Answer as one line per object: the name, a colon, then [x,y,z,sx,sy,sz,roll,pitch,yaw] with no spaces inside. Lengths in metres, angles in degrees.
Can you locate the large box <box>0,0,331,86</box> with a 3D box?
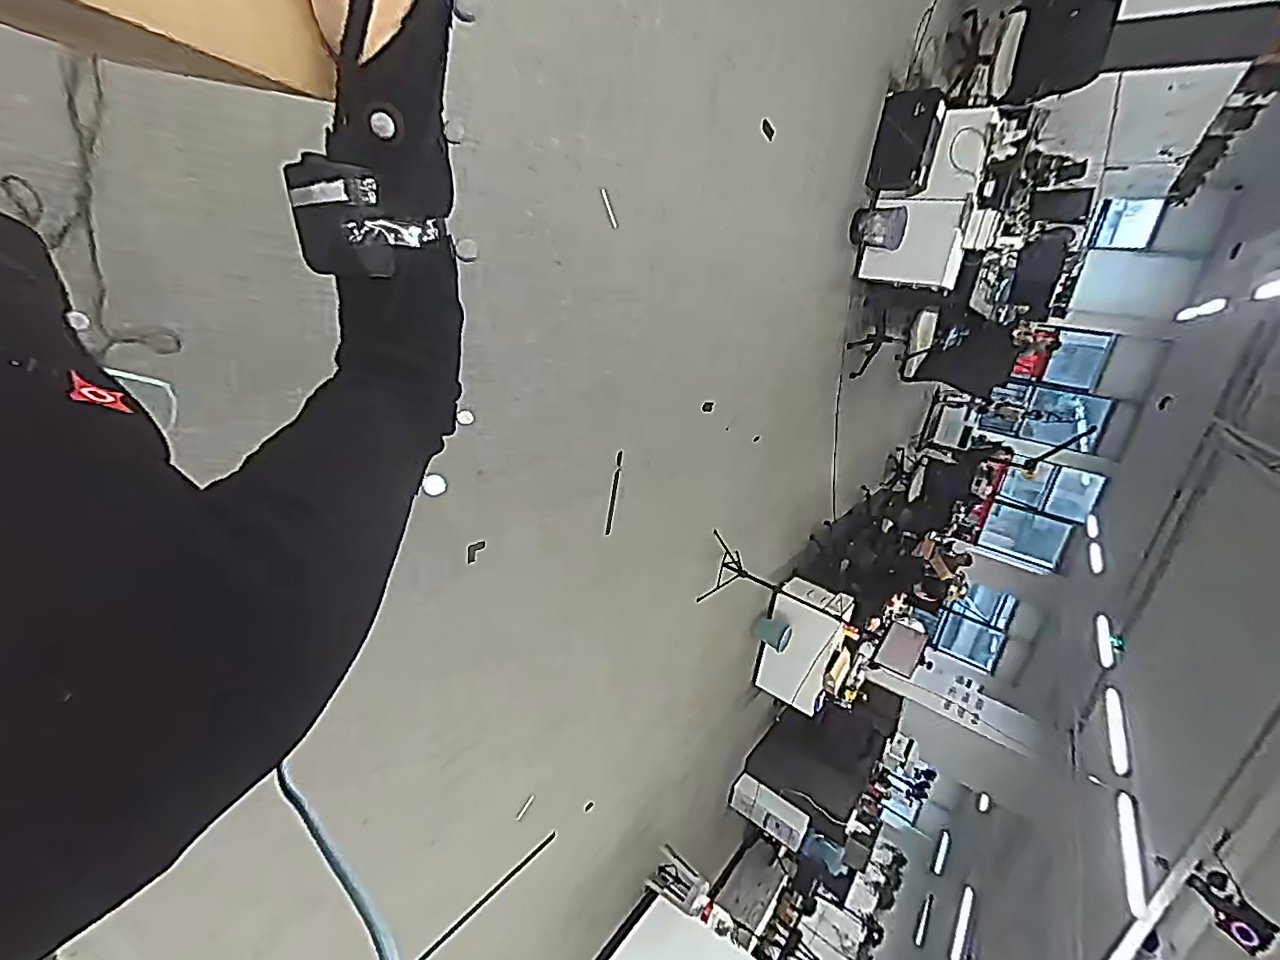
large box: [-0.368,-0.381,0.155,0.408,0.320,0.320,-19,131,-56]
